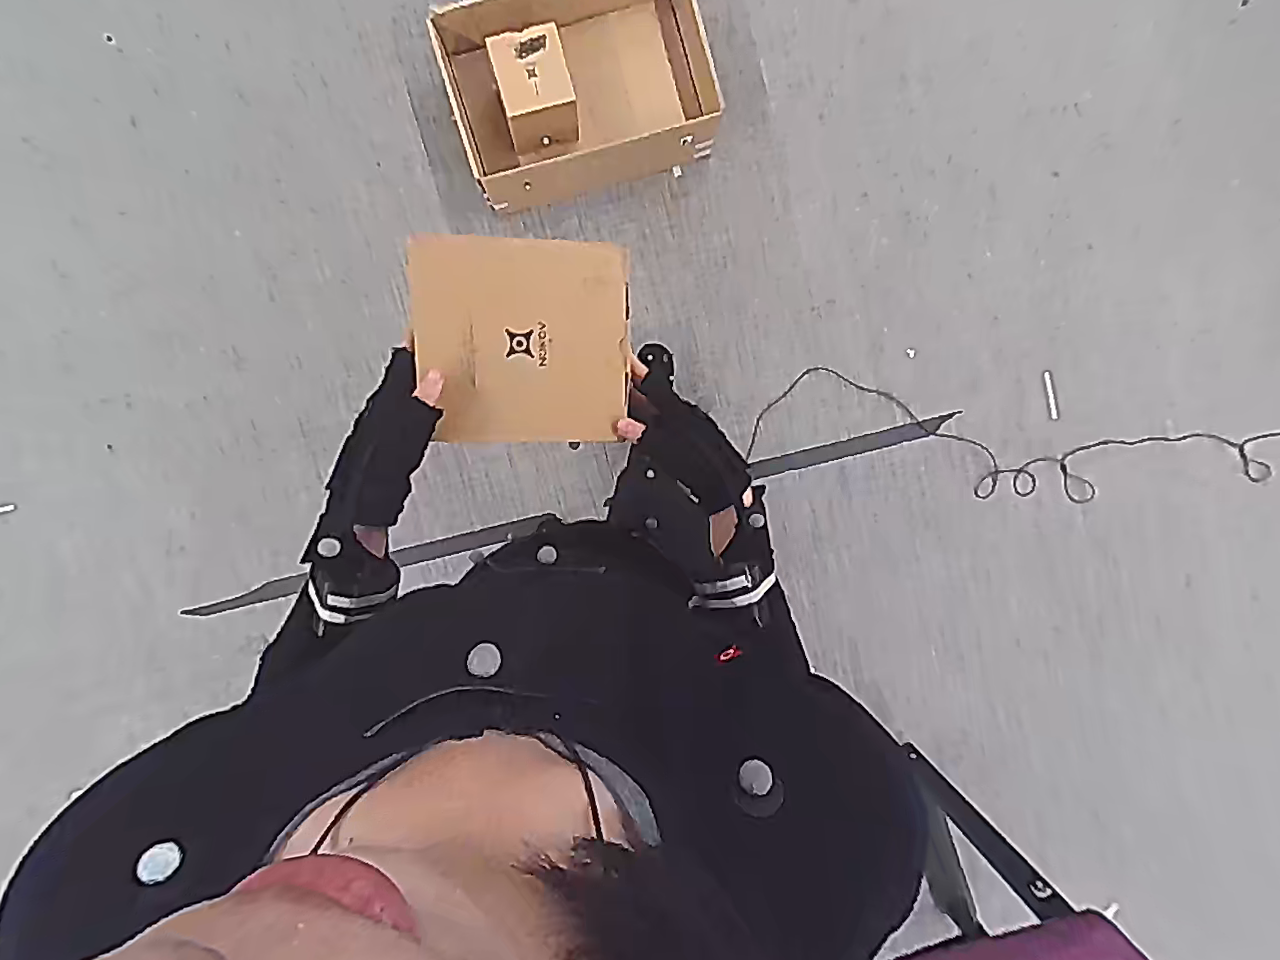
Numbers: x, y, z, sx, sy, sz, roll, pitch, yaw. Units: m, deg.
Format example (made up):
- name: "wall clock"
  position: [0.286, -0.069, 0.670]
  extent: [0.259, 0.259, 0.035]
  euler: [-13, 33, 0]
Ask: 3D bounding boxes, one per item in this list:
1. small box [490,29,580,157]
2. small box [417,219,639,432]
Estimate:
- name: "small box"
  position: [-0.247, -0.929, 1.312]
  extent: [0.168, 0.176, 0.179]
  euler: [-16, 95, -2]
- name: "small box"
  position: [-0.101, -0.134, 0.519]
  extent: [0.179, 0.176, 0.168]
  euler: [-1, 99, -9]
